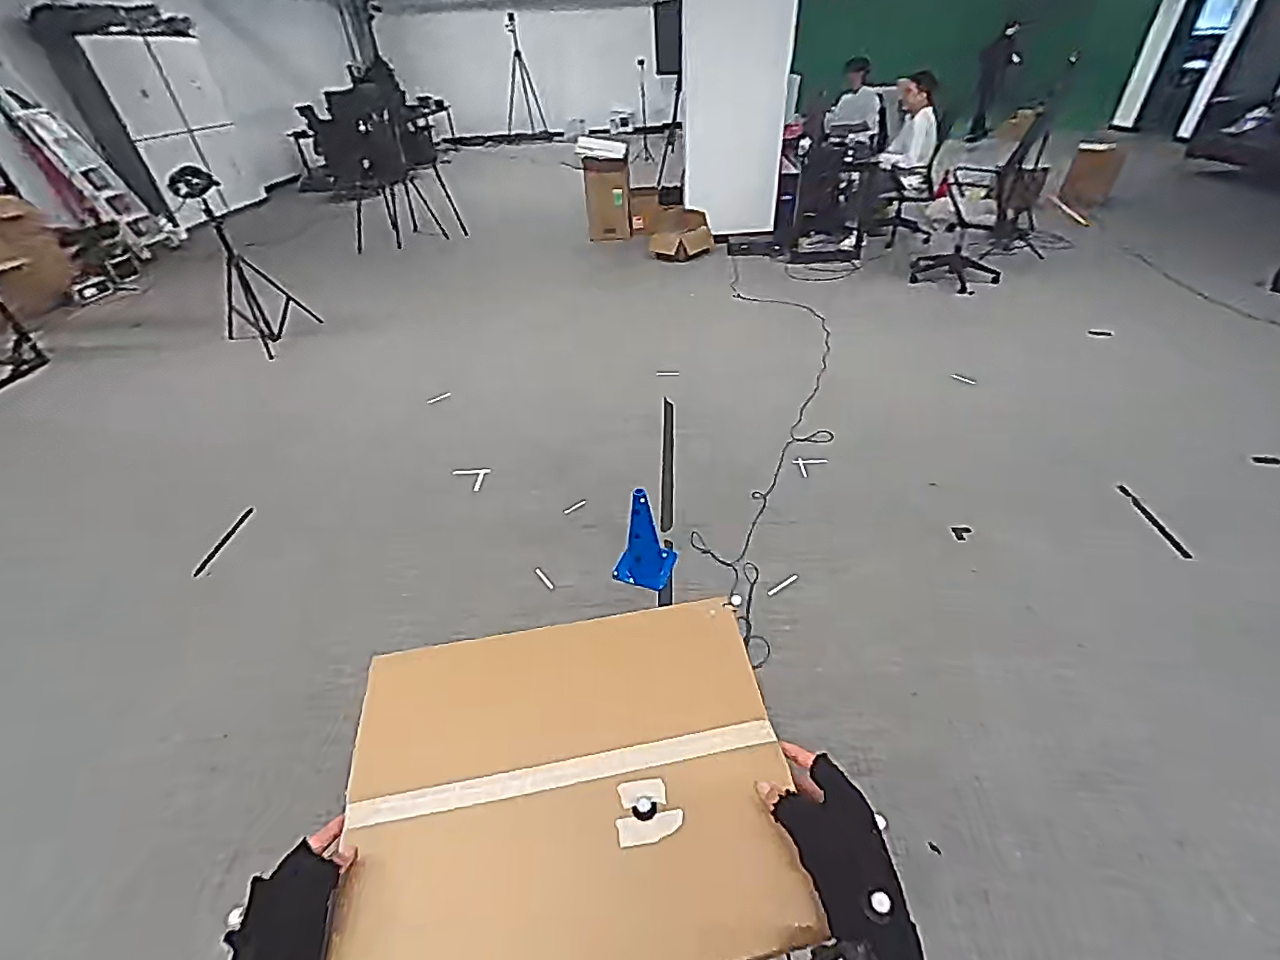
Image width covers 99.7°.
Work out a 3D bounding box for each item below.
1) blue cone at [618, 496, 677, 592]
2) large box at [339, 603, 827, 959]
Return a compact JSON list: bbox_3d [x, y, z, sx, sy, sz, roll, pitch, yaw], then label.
[{"bbox_3d":[0.018,0.203,1.917,0.193,0.380,0.192,12,42,21],"label":"blue cone"},{"bbox_3d":[-0.061,0.385,0.632,0.408,0.320,0.320,-7,46,-5],"label":"large box"}]
